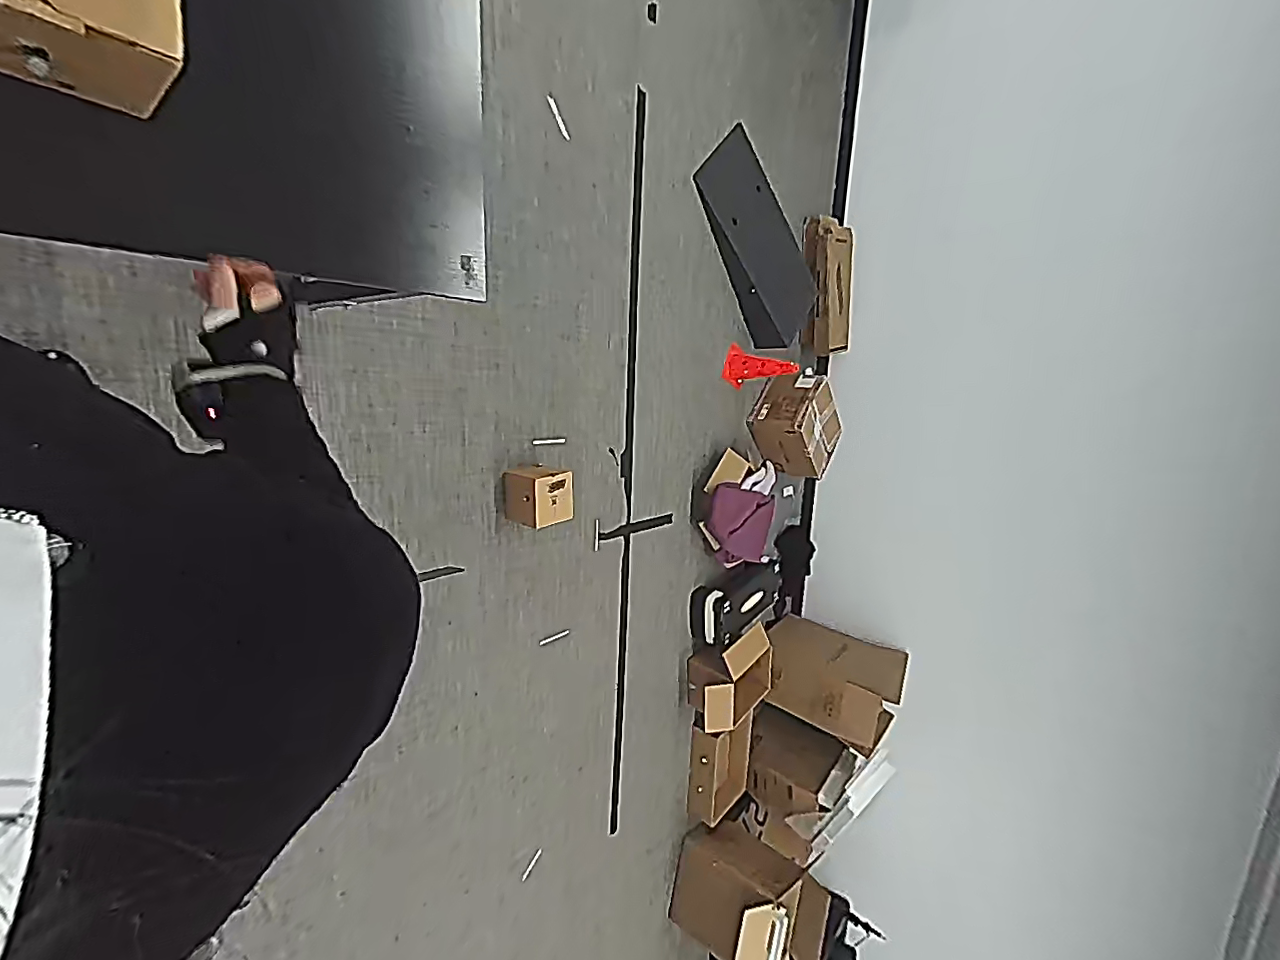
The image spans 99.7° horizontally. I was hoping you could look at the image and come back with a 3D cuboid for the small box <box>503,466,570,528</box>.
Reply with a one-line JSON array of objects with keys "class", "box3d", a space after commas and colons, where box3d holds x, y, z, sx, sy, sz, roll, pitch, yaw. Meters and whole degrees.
[{"class": "small box", "box3d": [-0.363, 0.052, 1.885, 0.168, 0.176, 0.179, -14, 110, -48]}]
